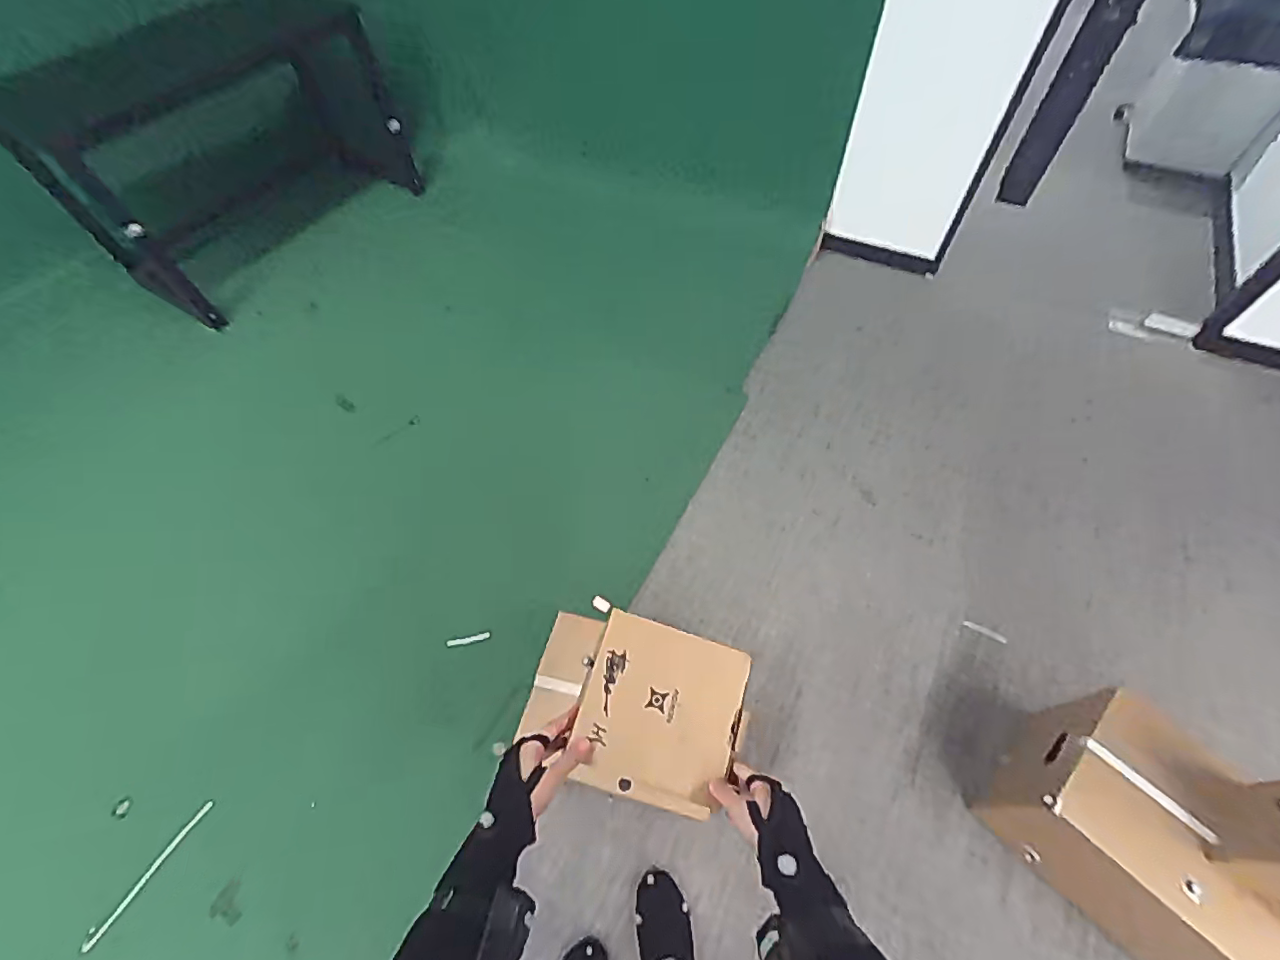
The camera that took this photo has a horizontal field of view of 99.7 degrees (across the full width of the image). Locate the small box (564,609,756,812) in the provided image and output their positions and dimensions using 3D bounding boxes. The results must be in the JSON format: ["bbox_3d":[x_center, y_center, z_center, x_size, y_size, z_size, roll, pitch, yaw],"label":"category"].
[{"bbox_3d":[0.017,0.277,0.661,0.179,0.176,0.168,19,64,0],"label":"small box"}]

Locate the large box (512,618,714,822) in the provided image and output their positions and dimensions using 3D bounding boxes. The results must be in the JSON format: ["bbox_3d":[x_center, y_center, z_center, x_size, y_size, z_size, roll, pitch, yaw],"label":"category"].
[{"bbox_3d":[-0.014,0.549,1.225,0.408,0.320,0.320,11,58,11],"label":"large box"}]

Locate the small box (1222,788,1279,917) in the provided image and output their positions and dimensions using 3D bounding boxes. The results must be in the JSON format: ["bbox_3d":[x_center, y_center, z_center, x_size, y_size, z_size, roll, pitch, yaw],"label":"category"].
[{"bbox_3d":[1.089,0.606,0.845,0.179,0.176,0.168,-37,63,-21],"label":"small box"}]
